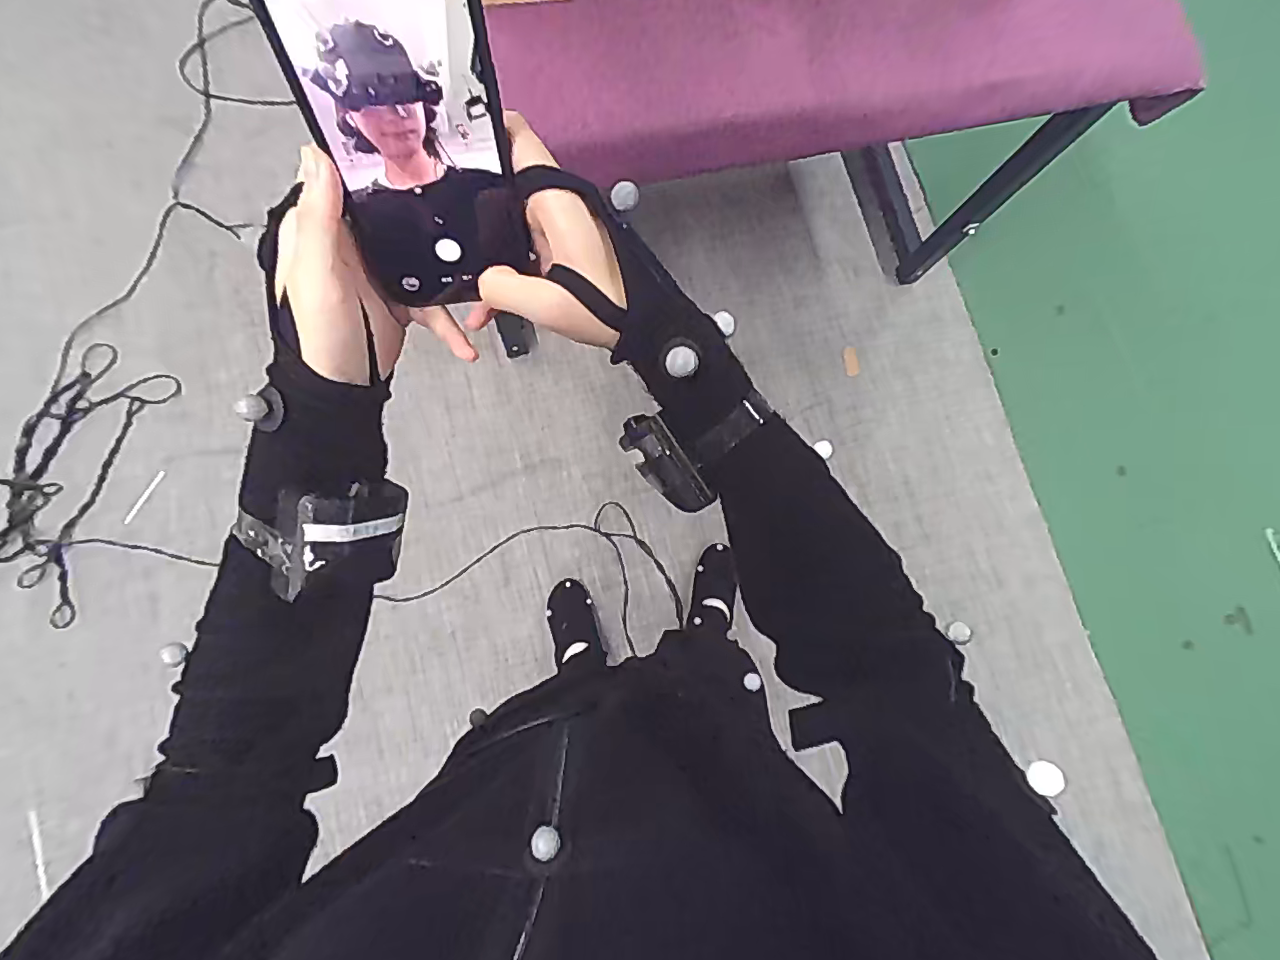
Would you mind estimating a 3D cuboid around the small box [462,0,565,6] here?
[{"bbox_3d":[-0.184,-0.756,0.693,0.168,0.176,0.179,-11,82,-7],"label":"small box"}]
